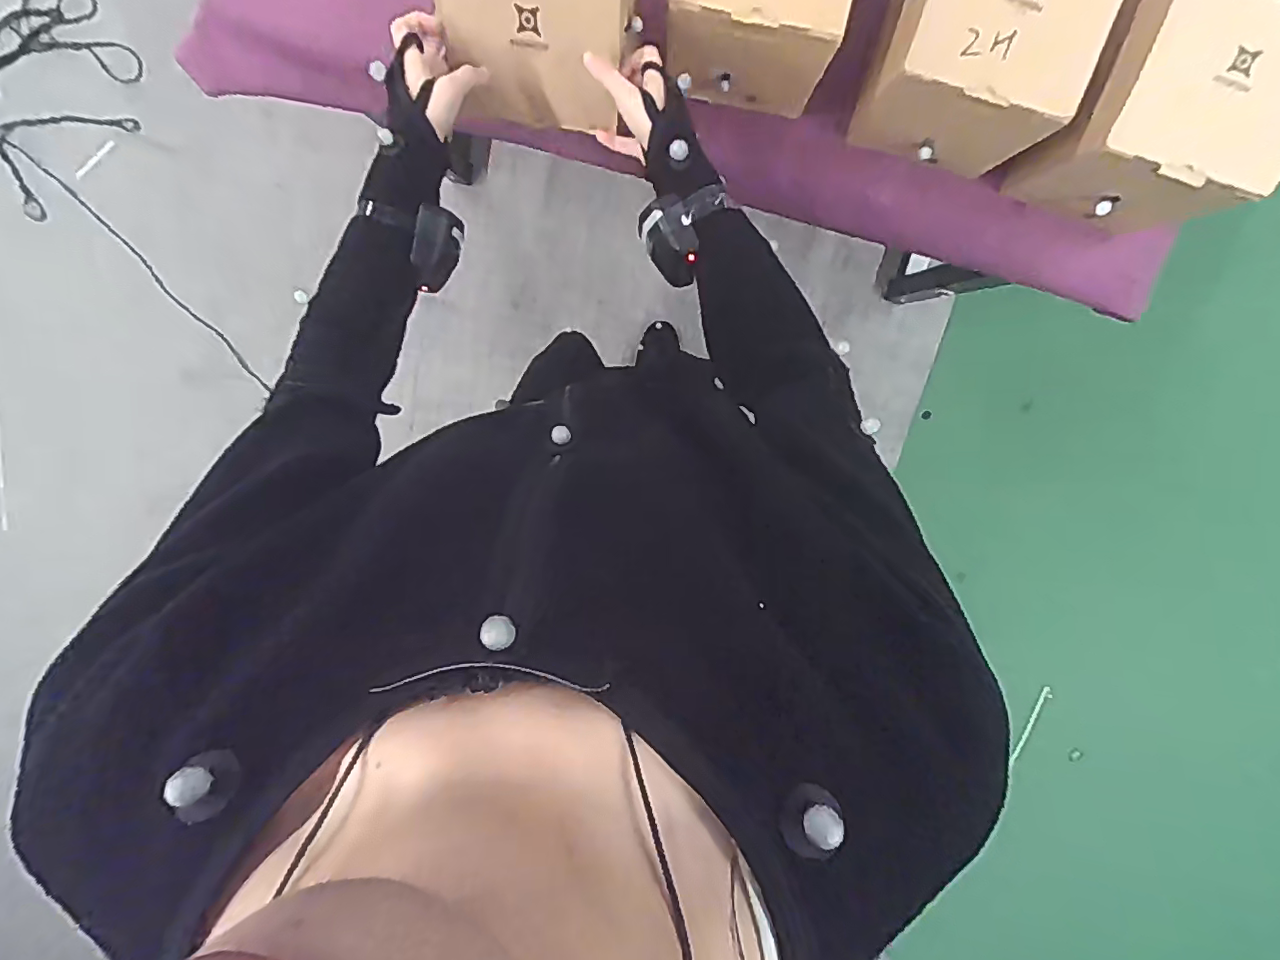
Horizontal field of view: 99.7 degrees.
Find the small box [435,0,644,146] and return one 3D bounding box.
[{"bbox_3d":[-0.085,-0.466,0.517,0.168,0.179,0.176,9,62,0],"label":"small box"}]
